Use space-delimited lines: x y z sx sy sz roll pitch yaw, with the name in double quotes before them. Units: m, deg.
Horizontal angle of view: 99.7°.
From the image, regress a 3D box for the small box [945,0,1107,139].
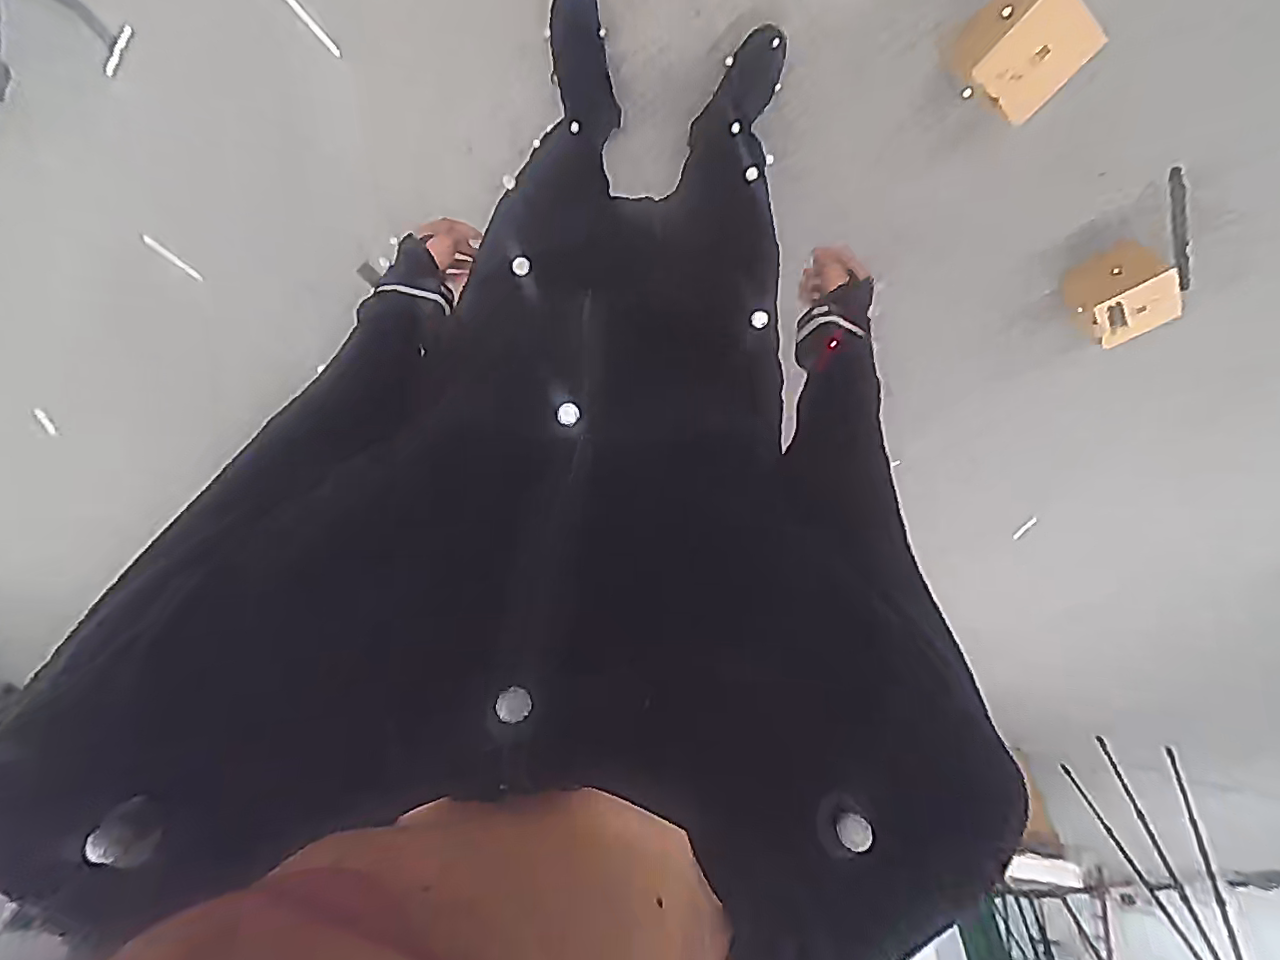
"small box" 0.757 -0.836 1.079 0.168 0.176 0.179 27 131 -22
